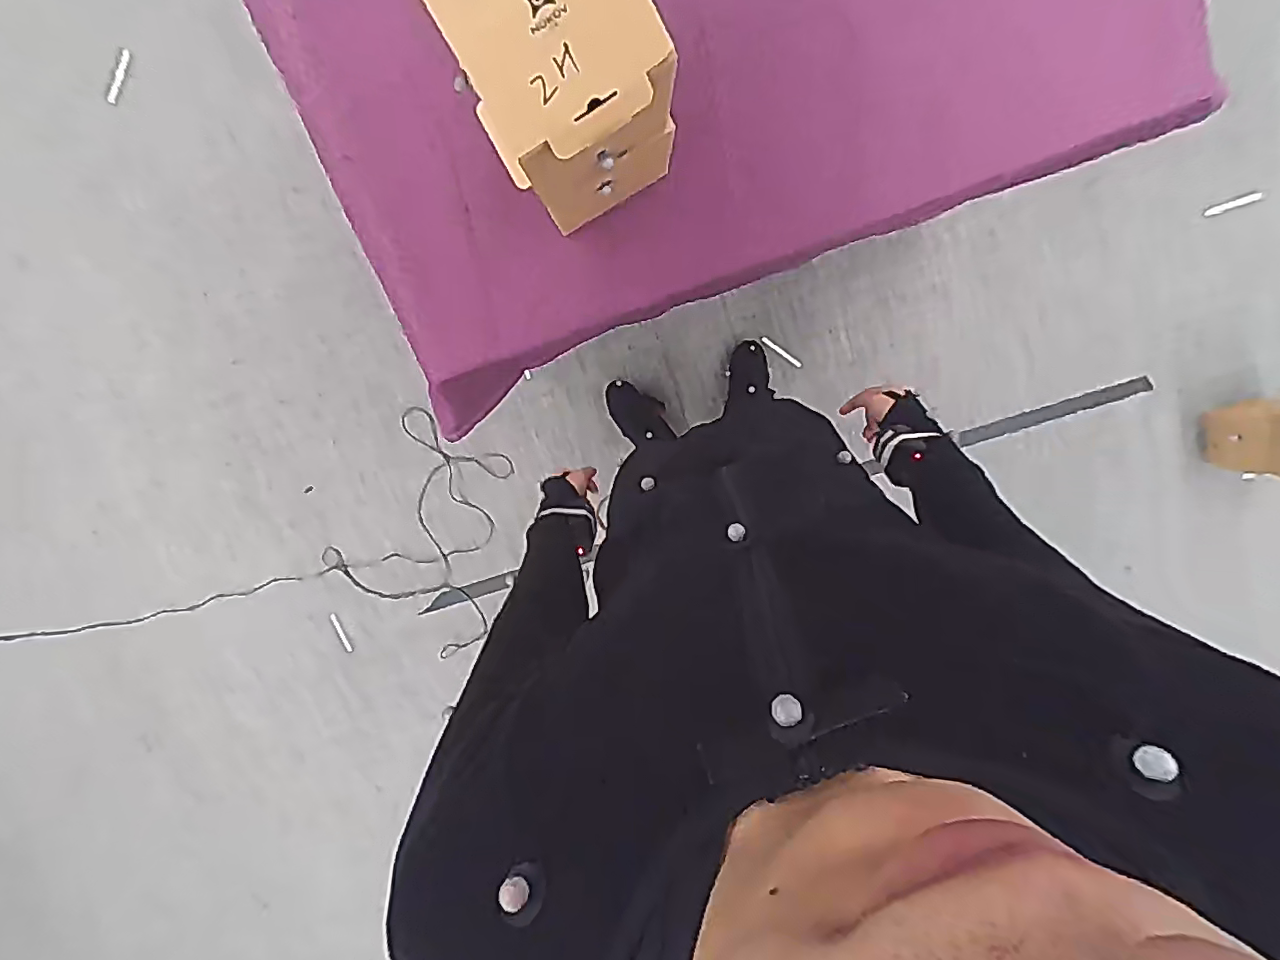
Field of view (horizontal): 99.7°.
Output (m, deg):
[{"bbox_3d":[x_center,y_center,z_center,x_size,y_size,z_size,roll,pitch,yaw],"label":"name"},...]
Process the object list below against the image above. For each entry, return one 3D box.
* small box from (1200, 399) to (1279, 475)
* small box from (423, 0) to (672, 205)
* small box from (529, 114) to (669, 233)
[{"bbox_3d":[1.768,-0.127,1.549,0.179,0.176,0.168,-15,103,2],"label":"small box"},{"bbox_3d":[-0.085,-0.411,0.534,0.168,0.176,0.179,-30,102,6],"label":"small box"},{"bbox_3d":[-0.078,-0.448,0.695,0.179,0.176,0.168,-29,102,5],"label":"small box"}]
